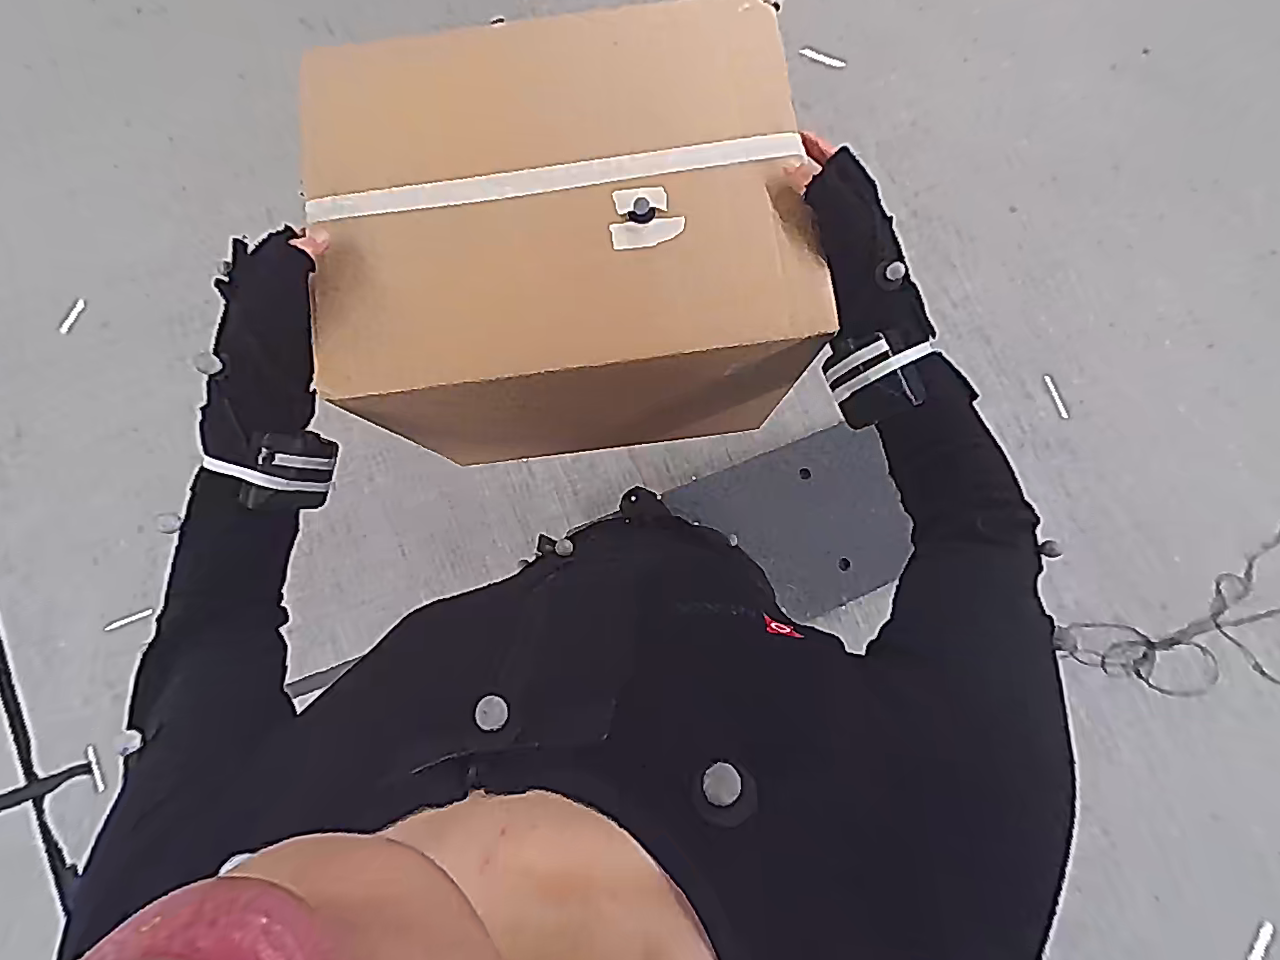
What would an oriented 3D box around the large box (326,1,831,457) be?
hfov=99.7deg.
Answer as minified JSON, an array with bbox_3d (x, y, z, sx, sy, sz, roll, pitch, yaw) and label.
[{"bbox_3d":[-0.060,-0.226,0.598,0.408,0.320,0.320,-7,82,0],"label":"large box"}]

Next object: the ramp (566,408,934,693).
[{"bbox_3d":[0.338,0.169,1.556,0.991,0.206,0.509,-24,83,-1],"label":"ramp"}]
